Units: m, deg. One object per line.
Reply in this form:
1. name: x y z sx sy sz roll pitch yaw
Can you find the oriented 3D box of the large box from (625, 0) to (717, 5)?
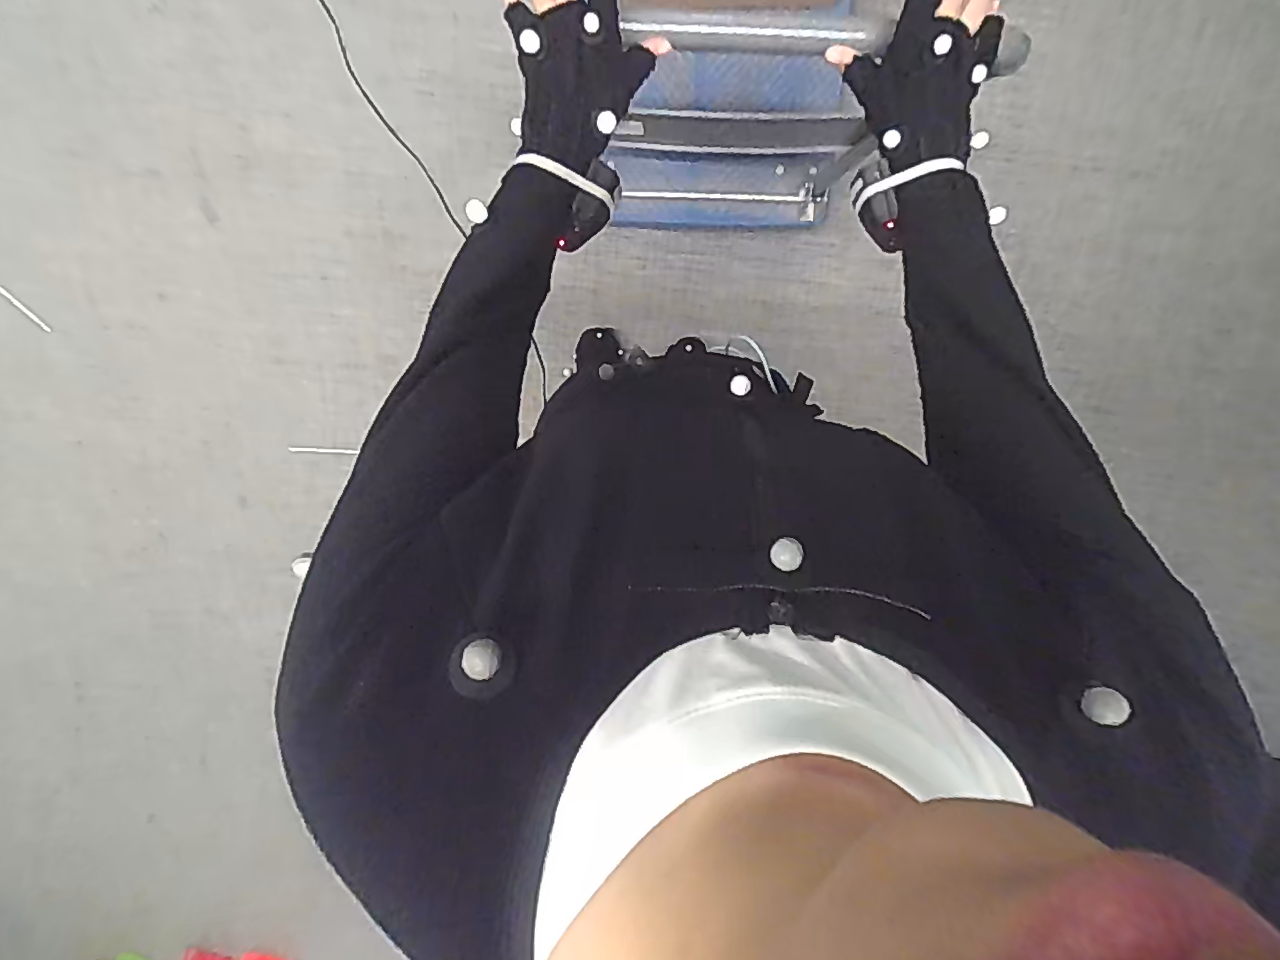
1. large box: 0.162 -1.018 0.850 0.408 0.320 0.320 -2 107 1
